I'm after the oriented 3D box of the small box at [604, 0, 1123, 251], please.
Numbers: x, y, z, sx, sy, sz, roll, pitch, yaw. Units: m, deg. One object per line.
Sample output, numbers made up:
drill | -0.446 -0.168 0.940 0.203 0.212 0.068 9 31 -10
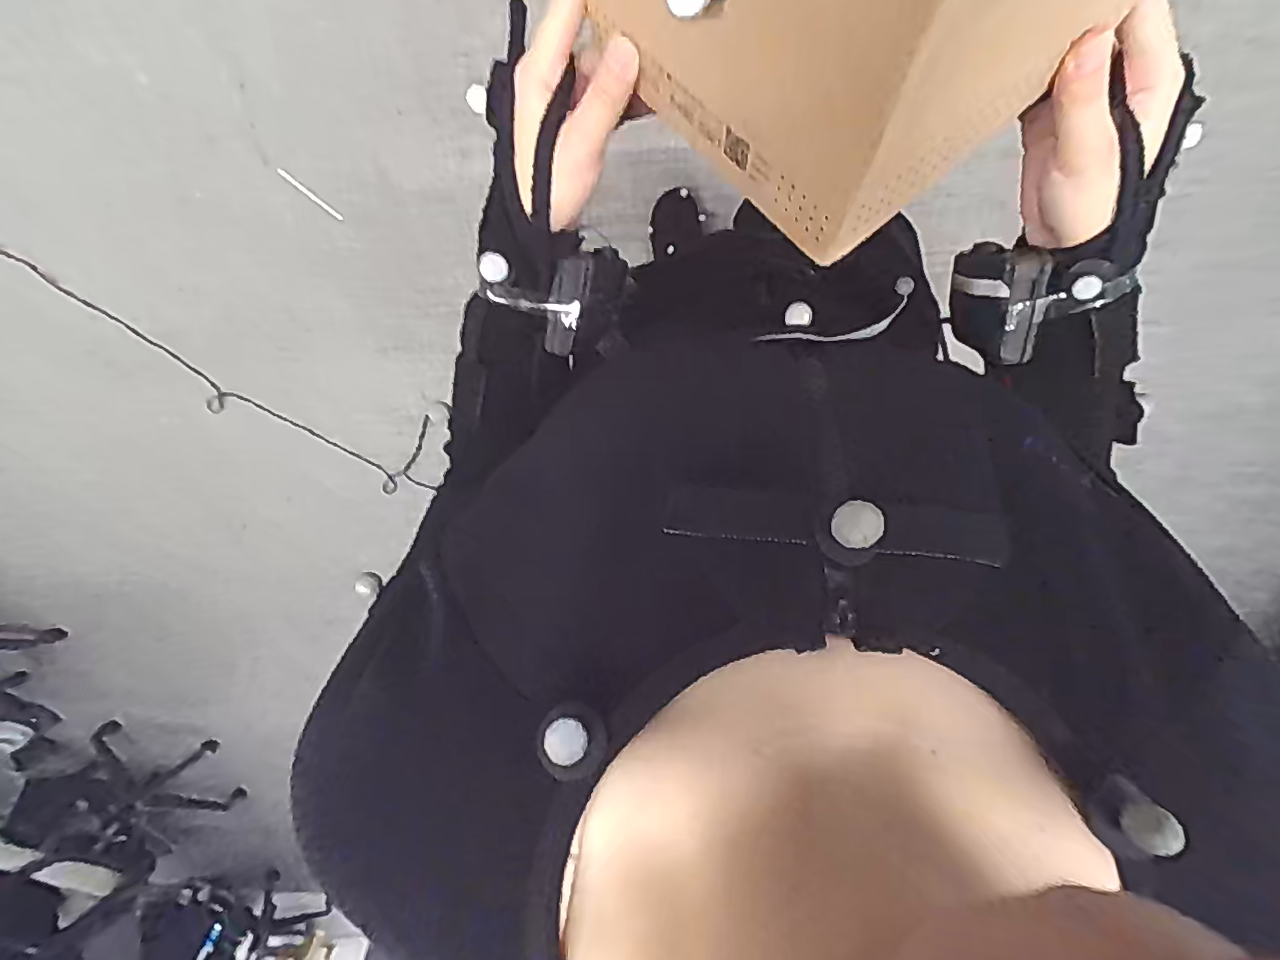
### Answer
small box | 0.087 -0.220 0.181 0.179 0.176 0.168 -40 77 -4
